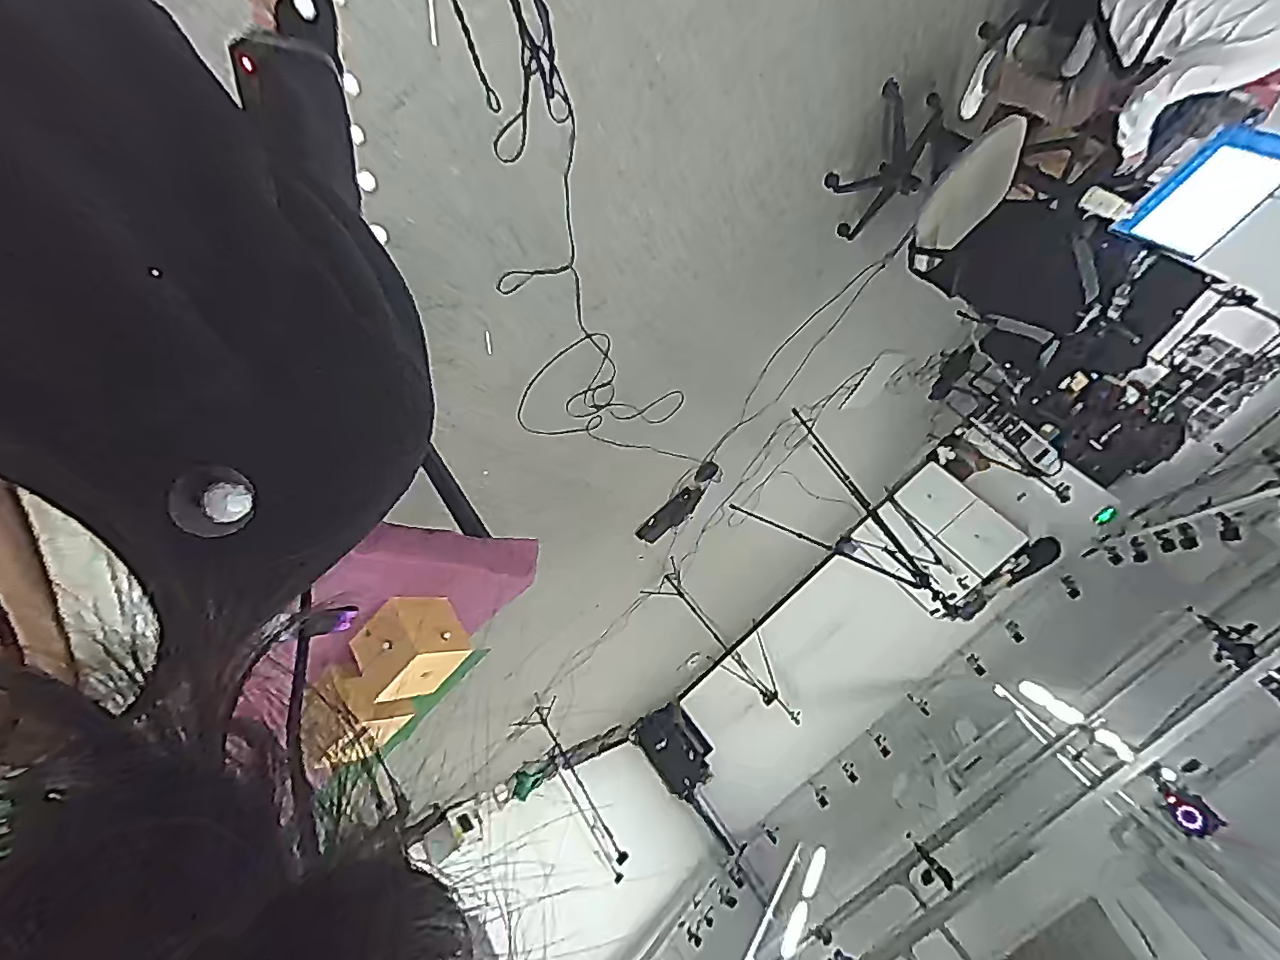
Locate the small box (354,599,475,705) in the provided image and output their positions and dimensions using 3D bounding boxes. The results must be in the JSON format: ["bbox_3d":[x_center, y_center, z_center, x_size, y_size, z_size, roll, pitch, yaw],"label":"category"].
[{"bbox_3d":[-0.536,0.398,1.281,0.168,0.176,0.179,-47,153,9],"label":"small box"}]
